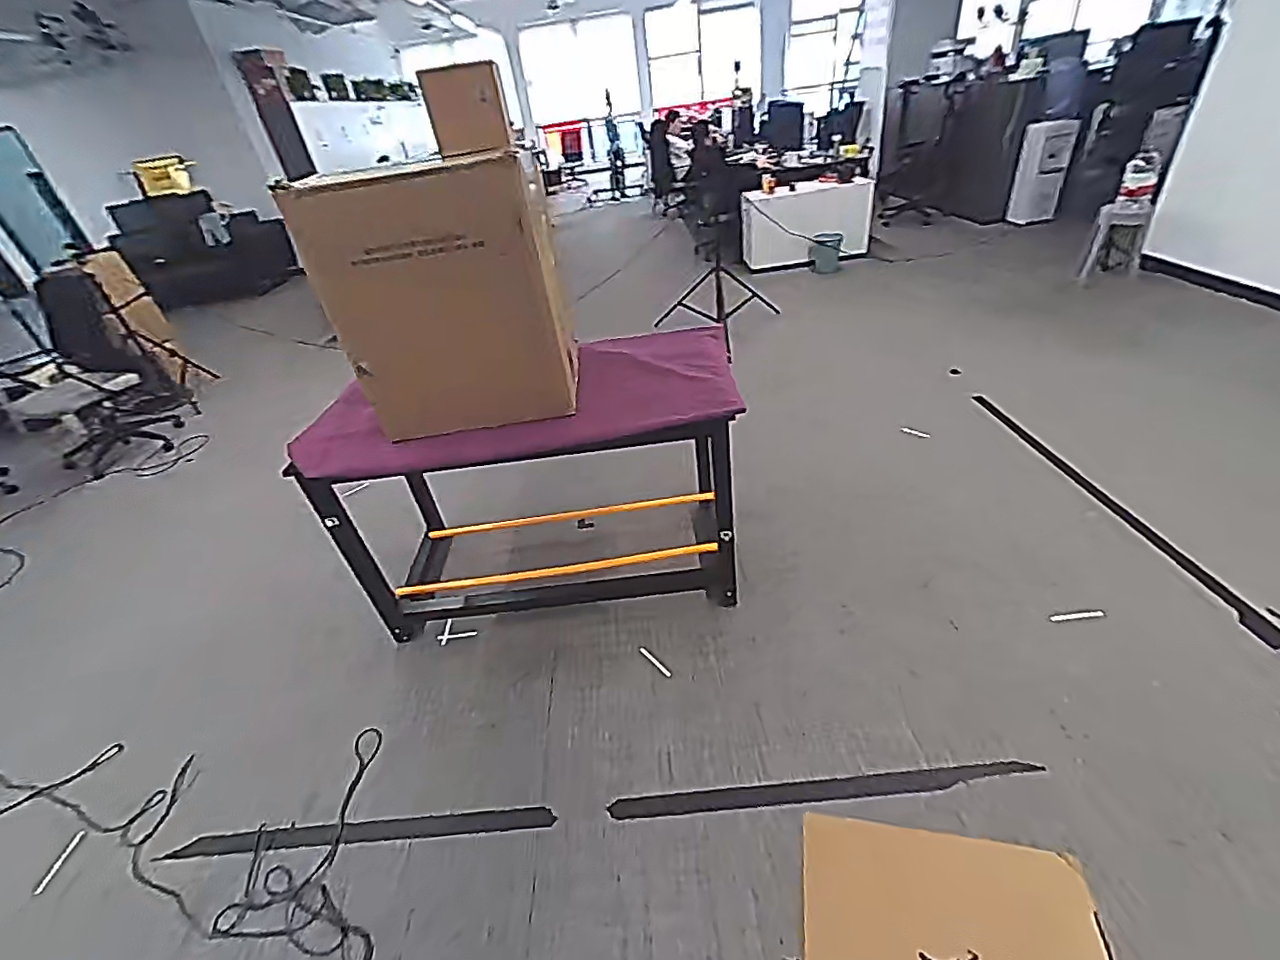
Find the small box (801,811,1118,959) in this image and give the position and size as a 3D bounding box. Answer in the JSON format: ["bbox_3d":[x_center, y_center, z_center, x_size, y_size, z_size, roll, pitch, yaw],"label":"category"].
[{"bbox_3d":[0.199,0.356,0.362,0.179,0.176,0.168,1,39,15],"label":"small box"}]
